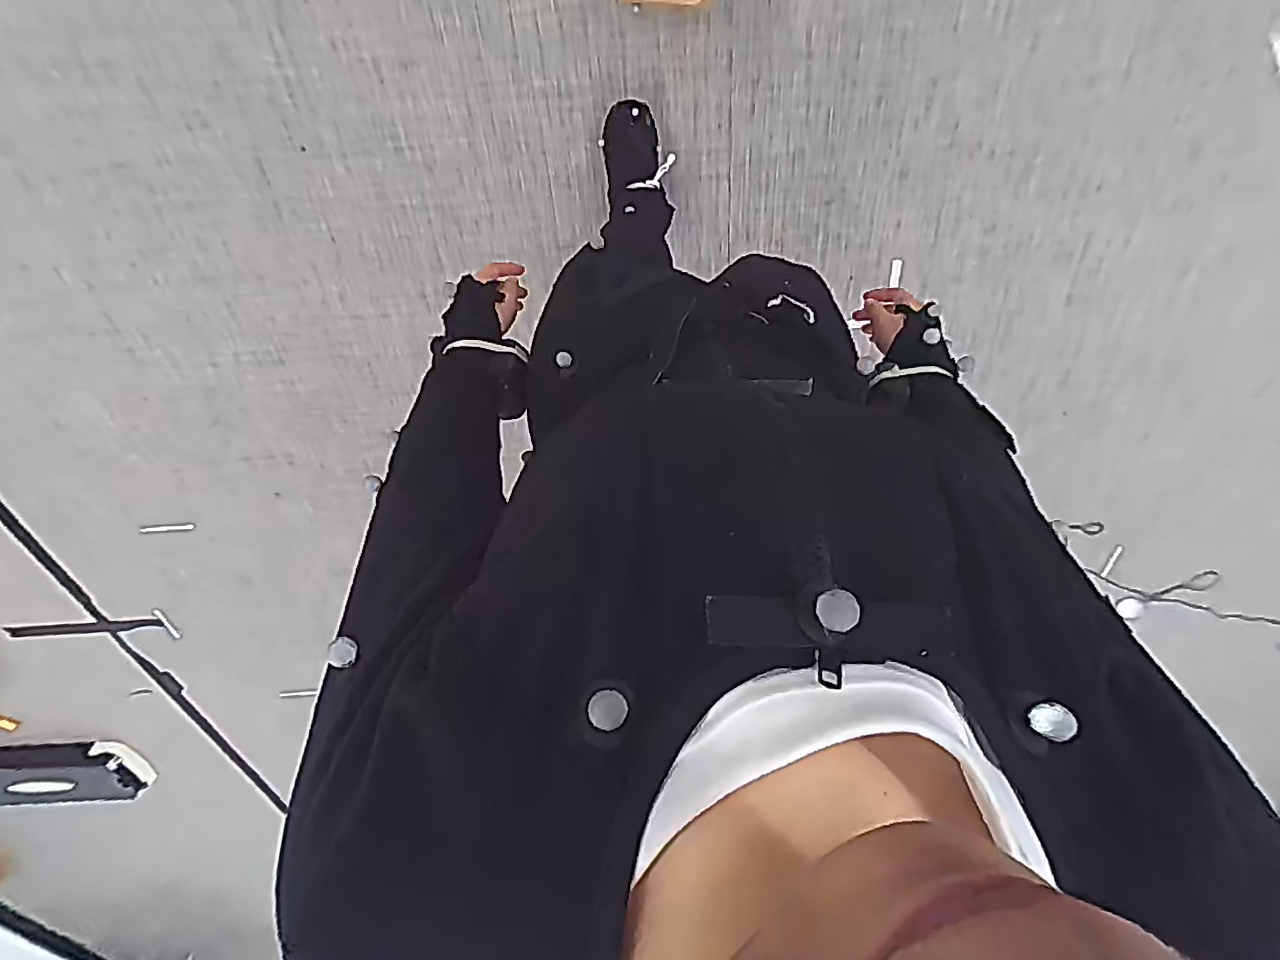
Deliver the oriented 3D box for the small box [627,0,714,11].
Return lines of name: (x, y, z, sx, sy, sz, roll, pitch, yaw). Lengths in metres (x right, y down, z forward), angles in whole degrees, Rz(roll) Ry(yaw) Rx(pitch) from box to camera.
small box: (0.053, -0.870, 0.853, 0.168, 0.176, 0.179, 2, 123, -3)
